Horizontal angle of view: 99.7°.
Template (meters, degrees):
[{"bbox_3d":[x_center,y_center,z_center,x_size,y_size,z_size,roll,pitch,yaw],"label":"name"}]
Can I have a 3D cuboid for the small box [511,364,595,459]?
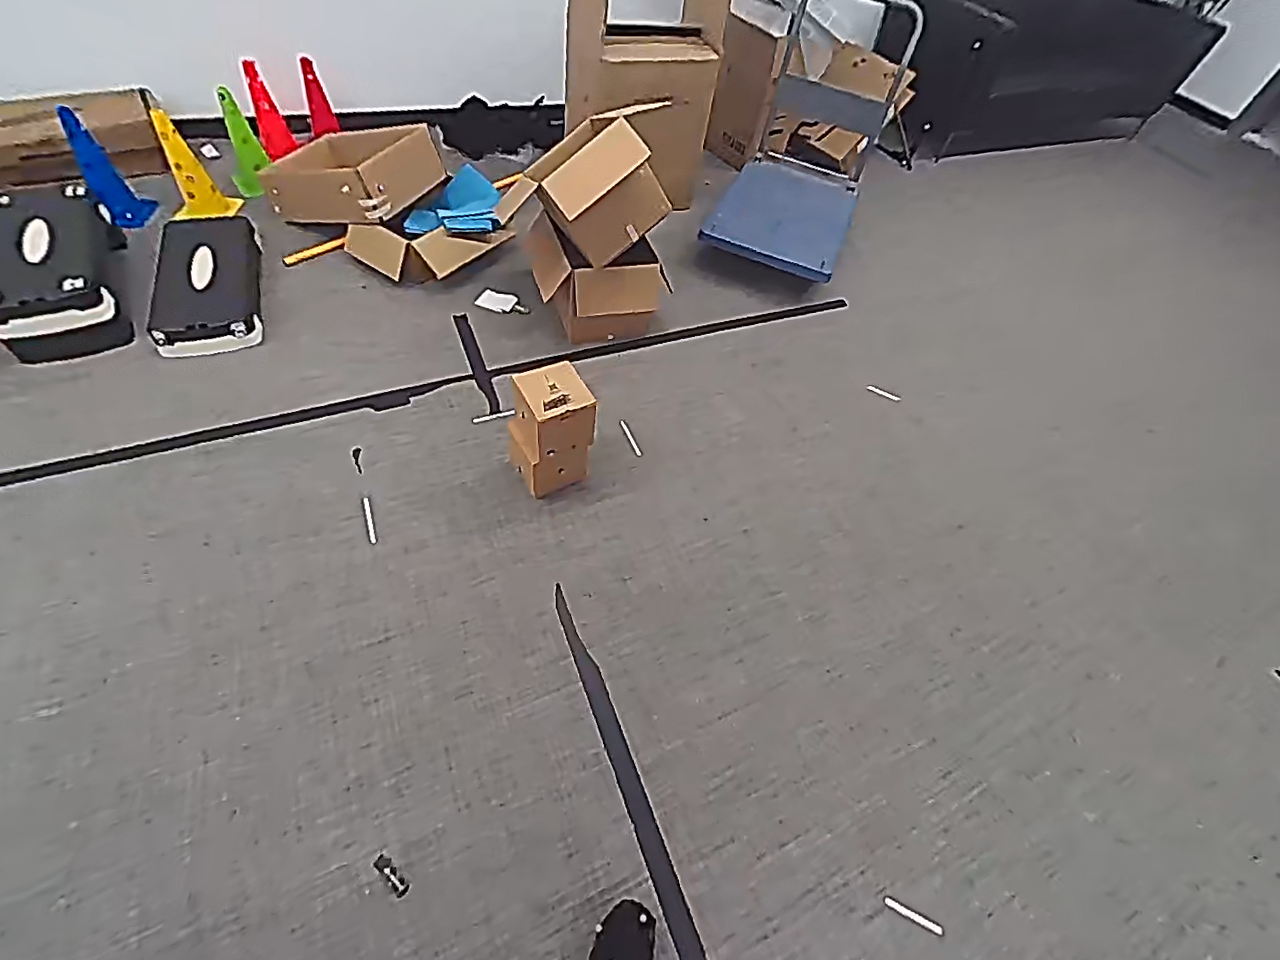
[{"bbox_3d":[-0.234,-0.178,1.458,0.168,0.176,0.179,-21,59,-23],"label":"small box"}]
